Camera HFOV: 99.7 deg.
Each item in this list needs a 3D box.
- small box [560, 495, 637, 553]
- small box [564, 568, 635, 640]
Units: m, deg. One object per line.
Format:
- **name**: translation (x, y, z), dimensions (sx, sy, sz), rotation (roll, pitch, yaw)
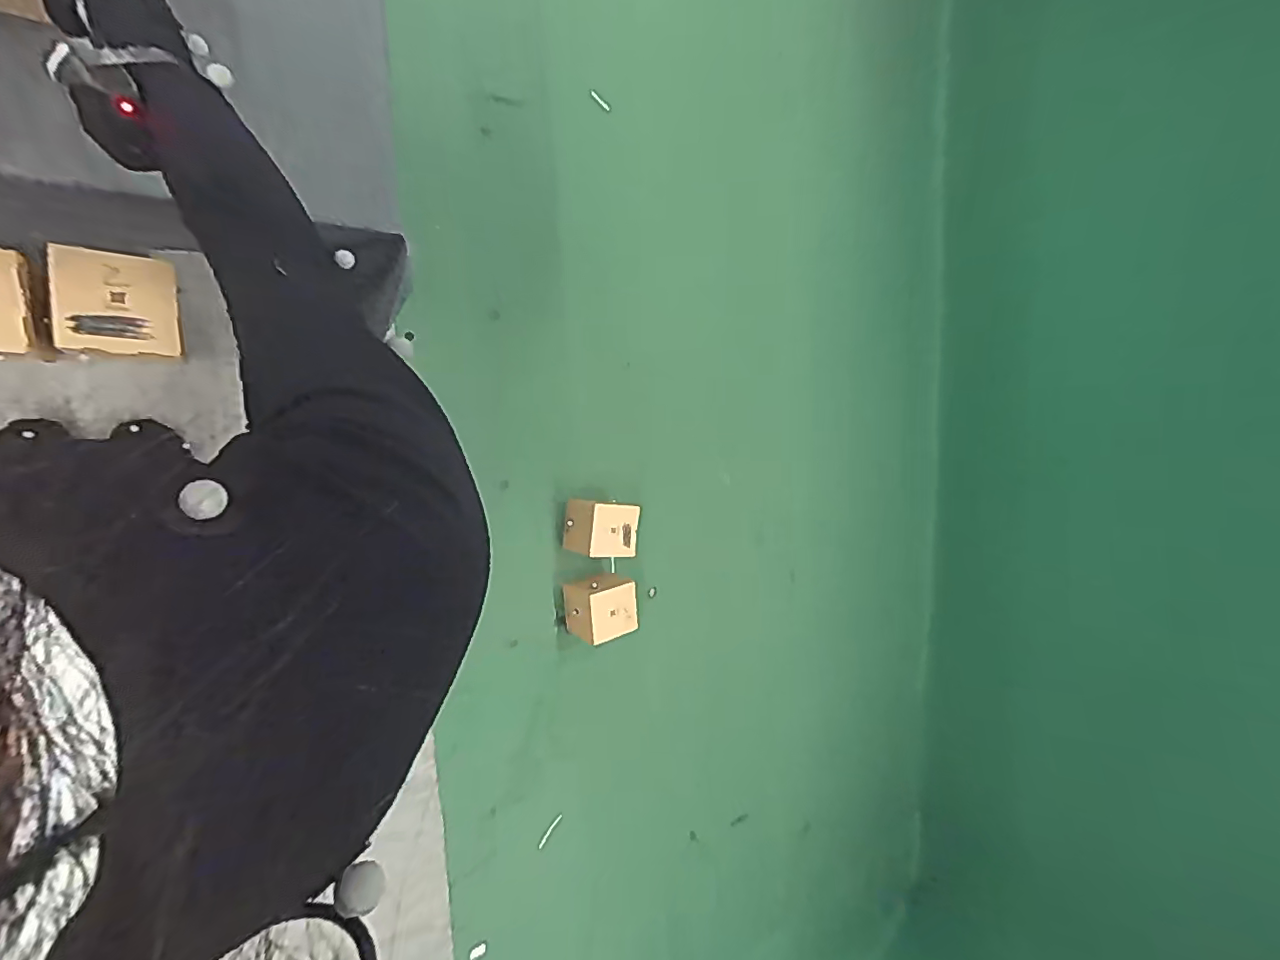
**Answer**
- **small box**: translation (-0.135, 0.141, 1.745), dimensions (0.179, 0.176, 0.168), rotation (5, 90, -38)
- **small box**: translation (-0.138, 0.399, 1.767), dimensions (0.179, 0.176, 0.168), rotation (-11, 102, -38)
